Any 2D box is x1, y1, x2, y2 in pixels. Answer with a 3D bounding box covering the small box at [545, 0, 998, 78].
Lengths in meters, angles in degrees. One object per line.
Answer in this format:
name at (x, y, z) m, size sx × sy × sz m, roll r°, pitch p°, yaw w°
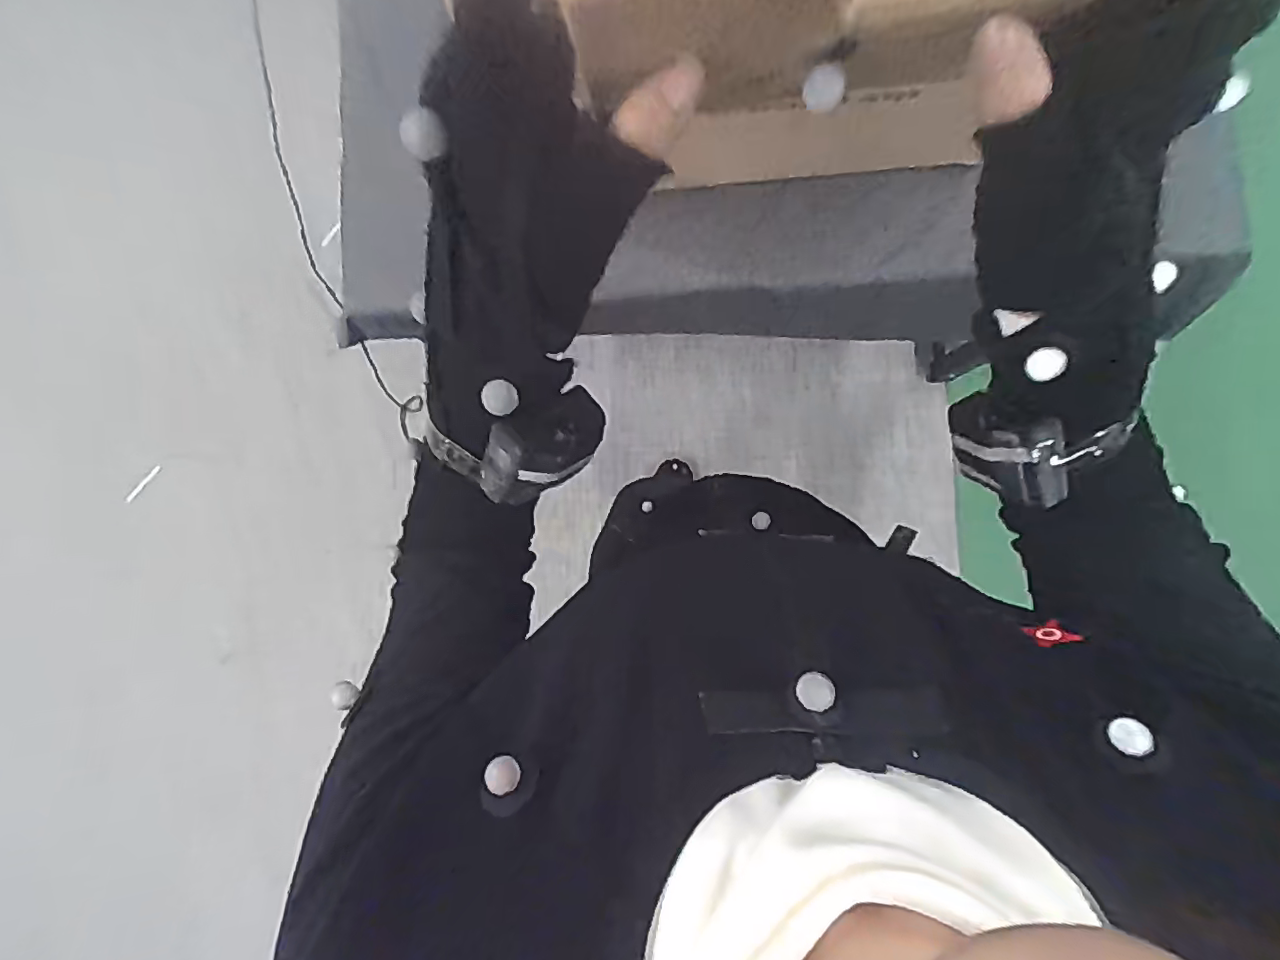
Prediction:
small box at (0.045, -0.225, 0.136) m, size 0.168 × 0.176 × 0.179 m, roll -6°, pitch 116°, yaw 2°
